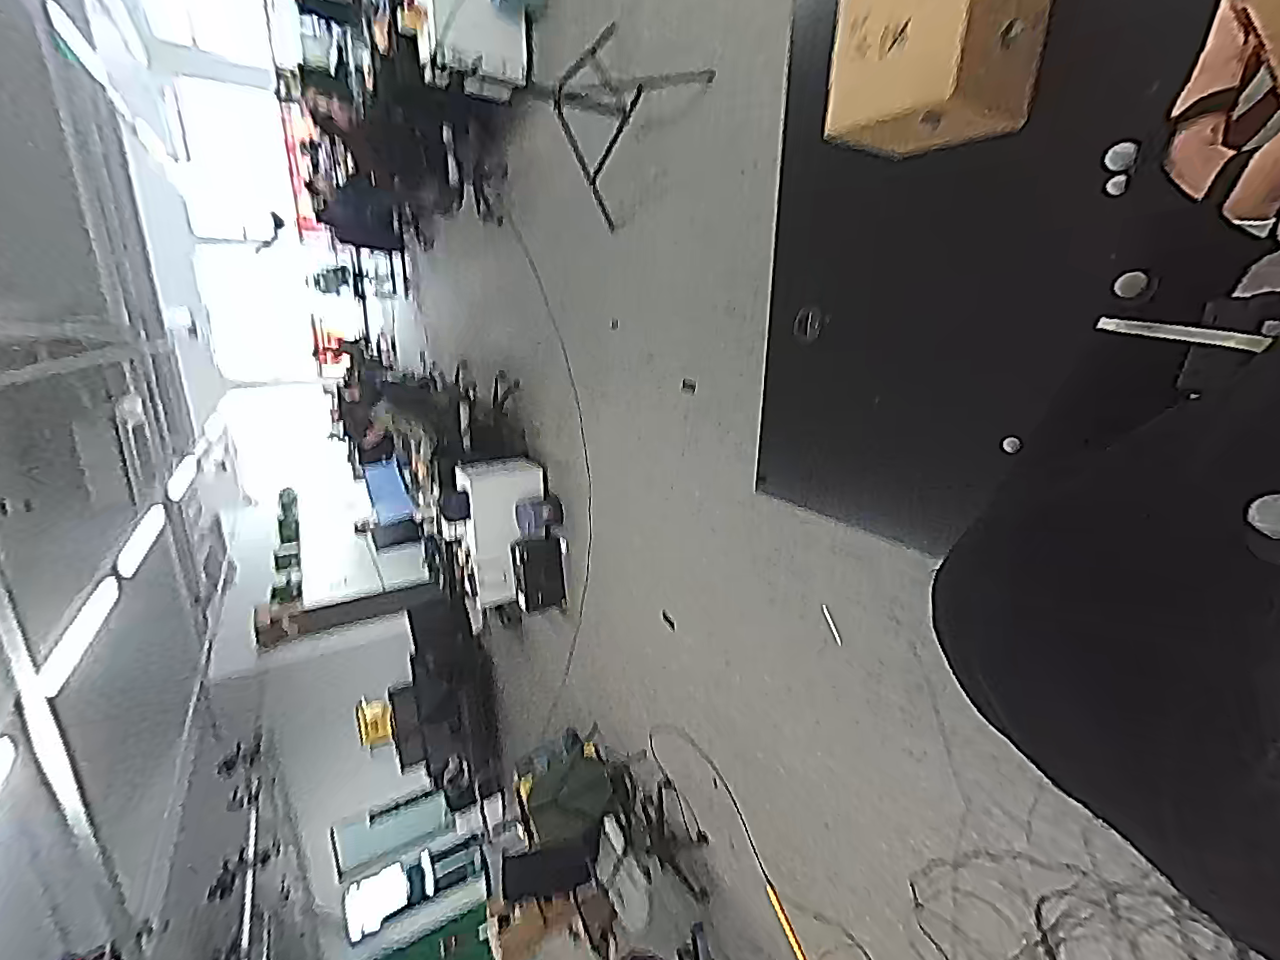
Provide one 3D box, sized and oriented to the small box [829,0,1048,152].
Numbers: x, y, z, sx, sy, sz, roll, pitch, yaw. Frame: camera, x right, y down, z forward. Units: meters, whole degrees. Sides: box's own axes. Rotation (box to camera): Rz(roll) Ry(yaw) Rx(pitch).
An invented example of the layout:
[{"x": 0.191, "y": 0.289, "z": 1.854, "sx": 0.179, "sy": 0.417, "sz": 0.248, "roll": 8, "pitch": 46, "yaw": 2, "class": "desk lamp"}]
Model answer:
[{"x": 0.373, "y": -0.534, "z": 0.682, "sx": 0.179, "sy": 0.176, "sz": 0.168, "roll": 27, "pitch": 121, "yaw": 54, "class": "small box"}]
